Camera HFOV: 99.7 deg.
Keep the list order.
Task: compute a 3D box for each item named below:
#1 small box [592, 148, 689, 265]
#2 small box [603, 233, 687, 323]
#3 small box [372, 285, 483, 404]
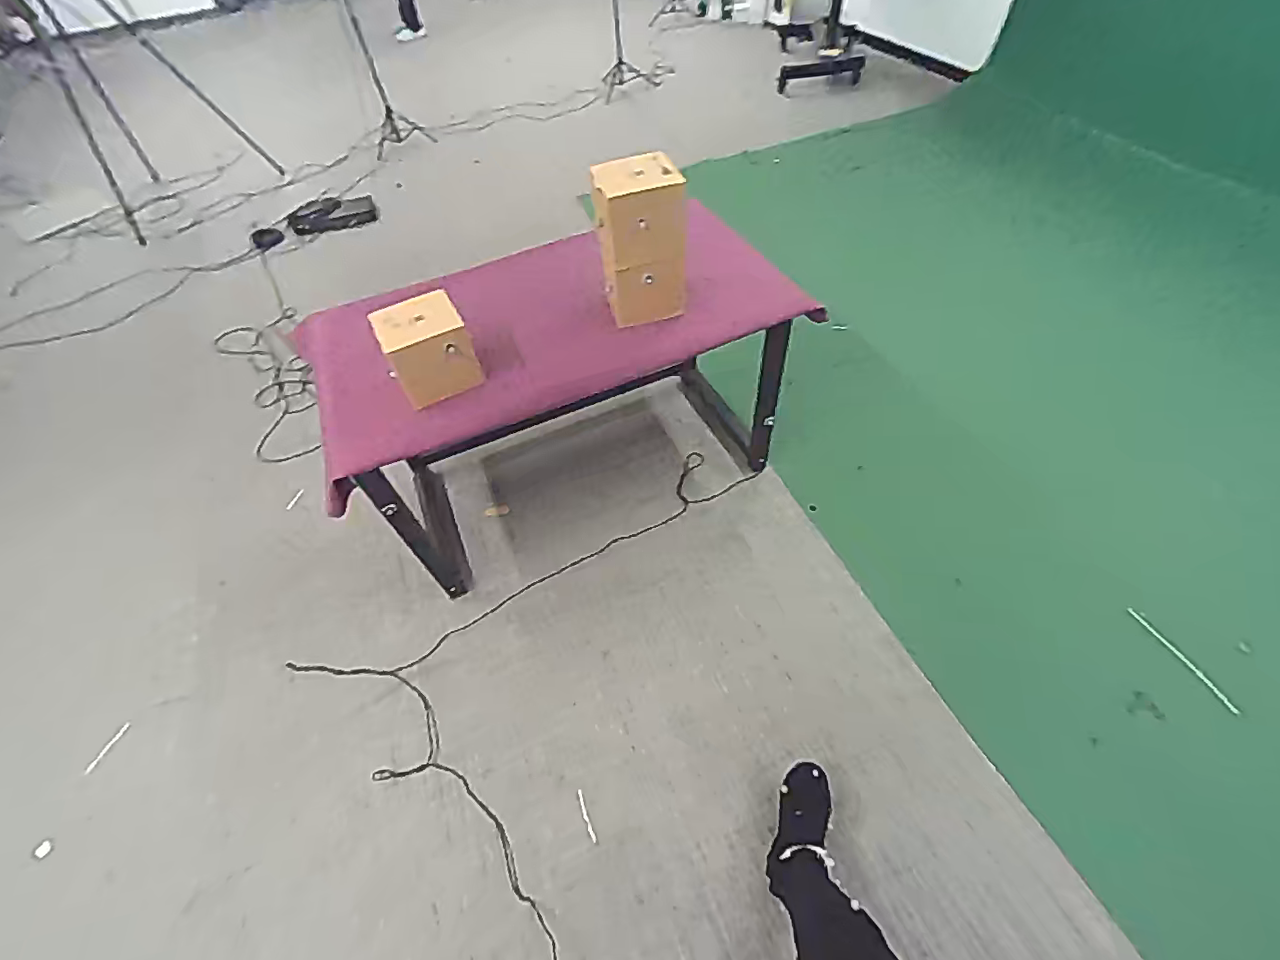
[{"bbox_3d":[0.004,-0.612,1.220,0.179,0.176,0.168,-16,55,-6],"label":"small box"},{"bbox_3d":[0.015,-0.515,1.351,0.179,0.176,0.168,-13,54,-5],"label":"small box"},{"bbox_3d":[-0.475,-0.307,1.235,0.179,0.176,0.168,-26,55,-13],"label":"small box"}]
